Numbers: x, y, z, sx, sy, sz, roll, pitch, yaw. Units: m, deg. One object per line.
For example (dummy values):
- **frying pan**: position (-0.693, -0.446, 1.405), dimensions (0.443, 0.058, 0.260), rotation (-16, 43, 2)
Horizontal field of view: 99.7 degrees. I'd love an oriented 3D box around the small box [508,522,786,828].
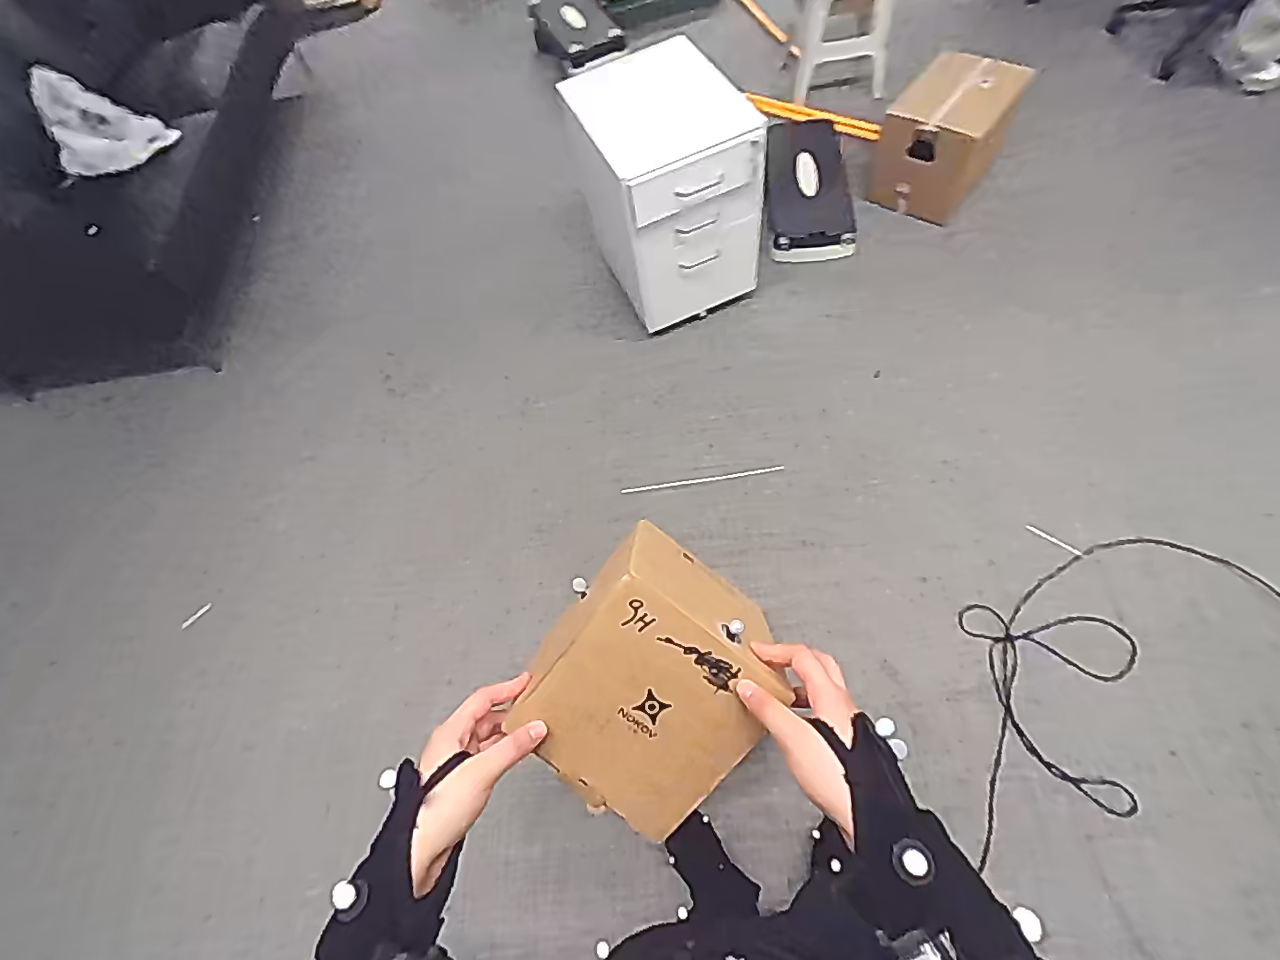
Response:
- **small box**: position (0.010, 0.168, 0.517), dimensions (0.168, 0.176, 0.179), rotation (39, 101, -3)
